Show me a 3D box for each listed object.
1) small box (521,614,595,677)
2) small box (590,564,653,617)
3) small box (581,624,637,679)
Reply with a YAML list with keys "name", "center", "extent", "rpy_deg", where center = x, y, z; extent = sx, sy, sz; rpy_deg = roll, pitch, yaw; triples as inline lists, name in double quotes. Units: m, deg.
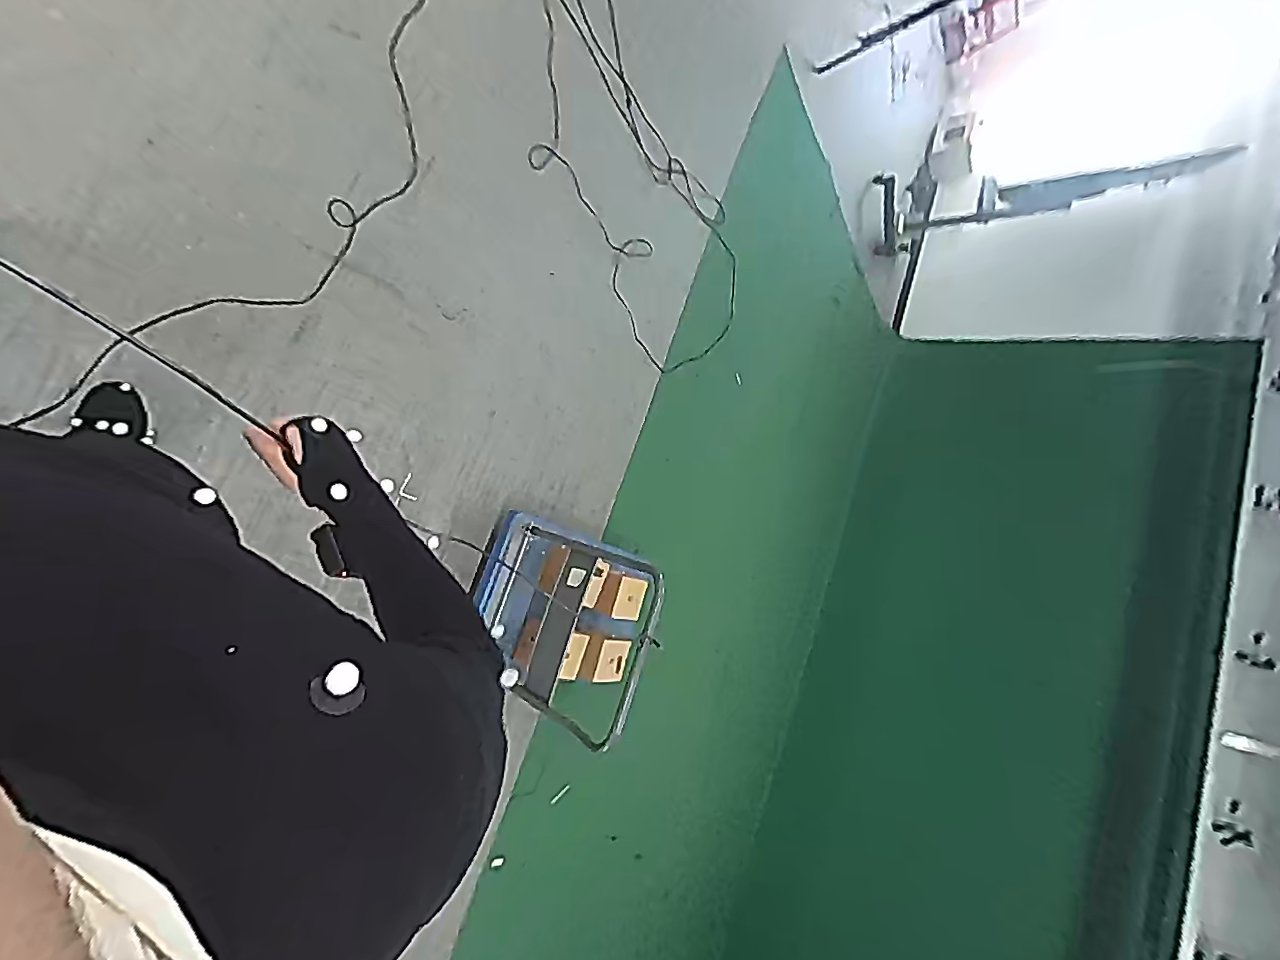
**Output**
- name: "small box"
  center: [-0.301, 0.604, 1.977]
  extent: [0.179, 0.176, 0.168]
  rpy_deg: [30, 75, -48]
- name: "small box"
  center: [-0.079, 0.449, 2.207]
  extent: [0.179, 0.176, 0.168]
  rpy_deg: [24, 81, -50]
- name: "small box"
  center: [-0.146, 0.690, 2.181]
  extent: [0.179, 0.176, 0.168]
  rpy_deg: [23, 80, -49]
